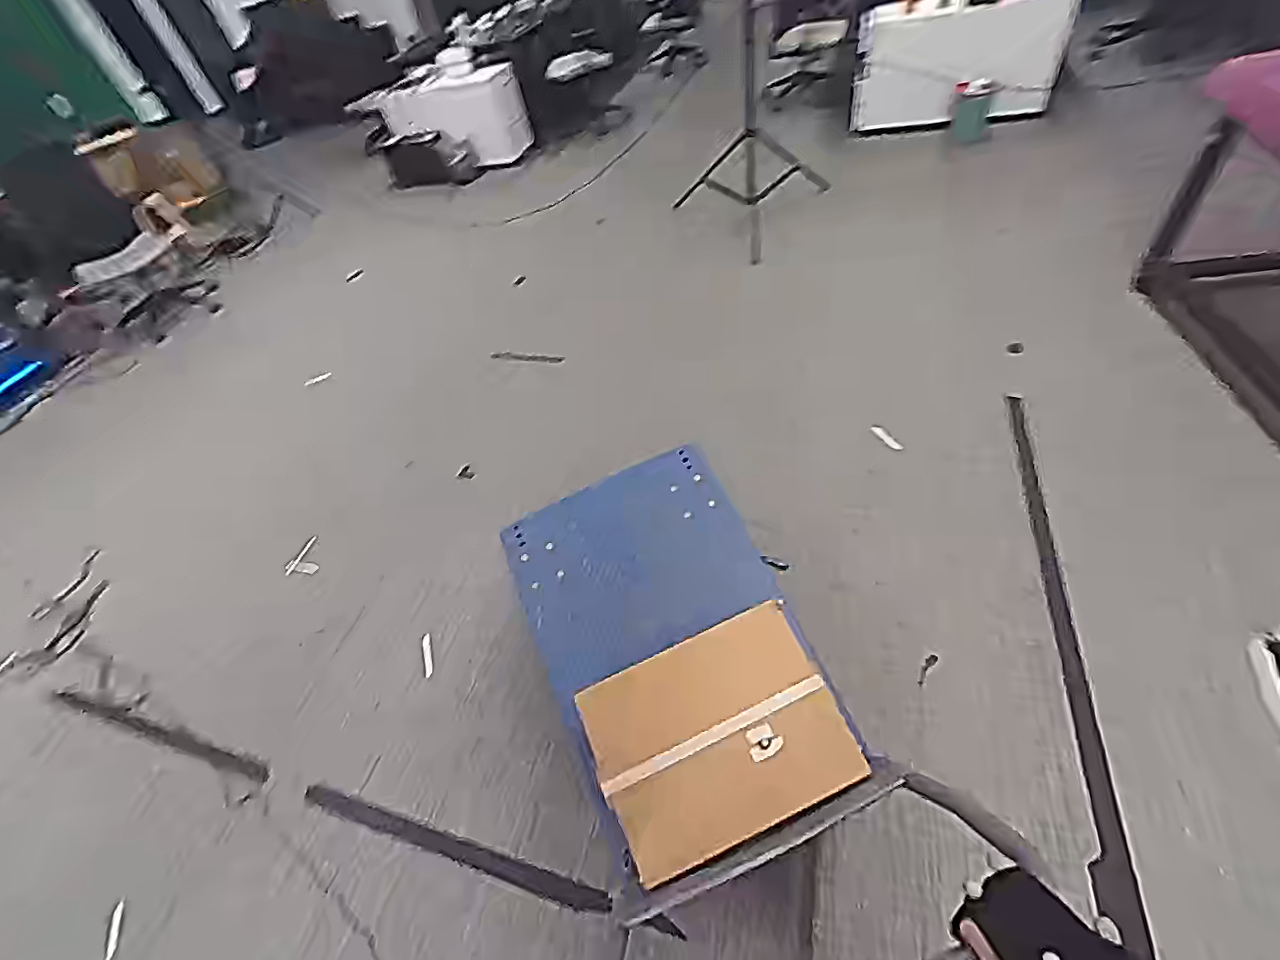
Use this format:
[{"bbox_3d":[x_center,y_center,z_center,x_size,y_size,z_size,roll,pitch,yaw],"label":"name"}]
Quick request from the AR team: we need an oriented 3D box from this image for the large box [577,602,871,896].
[{"bbox_3d":[0.142,0.487,1.031,0.408,0.320,0.320,-25,67,-5],"label":"large box"}]
